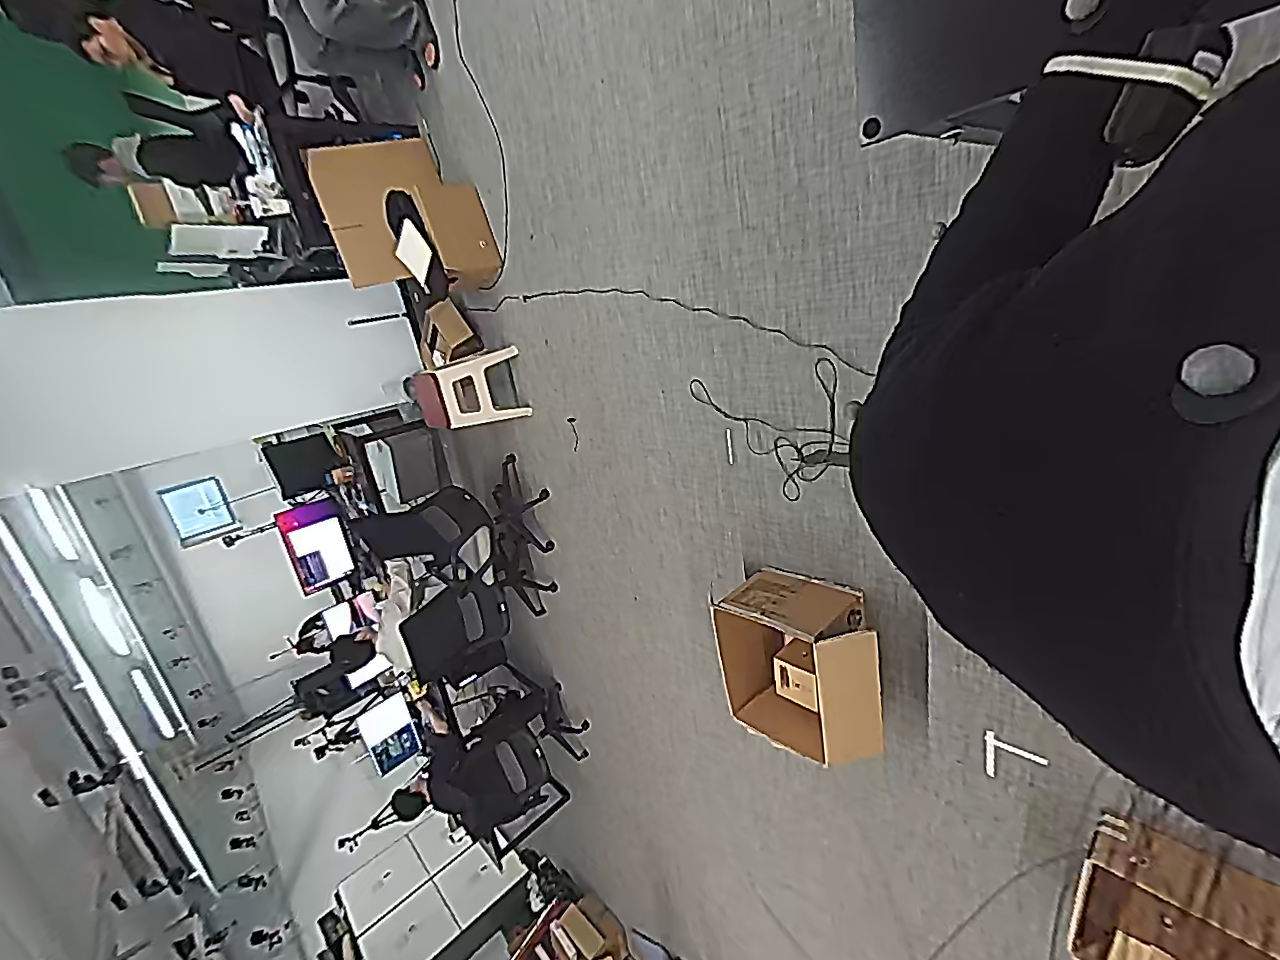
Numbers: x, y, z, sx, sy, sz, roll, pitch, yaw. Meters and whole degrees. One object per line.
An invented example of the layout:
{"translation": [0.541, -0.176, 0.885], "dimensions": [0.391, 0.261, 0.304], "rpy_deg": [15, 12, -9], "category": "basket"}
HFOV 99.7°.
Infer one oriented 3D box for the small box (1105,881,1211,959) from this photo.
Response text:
{"translation": [1.308, 1.178, 1.367], "dimensions": [0.168, 0.176, 0.179], "rpy_deg": [16, 119, 44], "category": "small box"}
